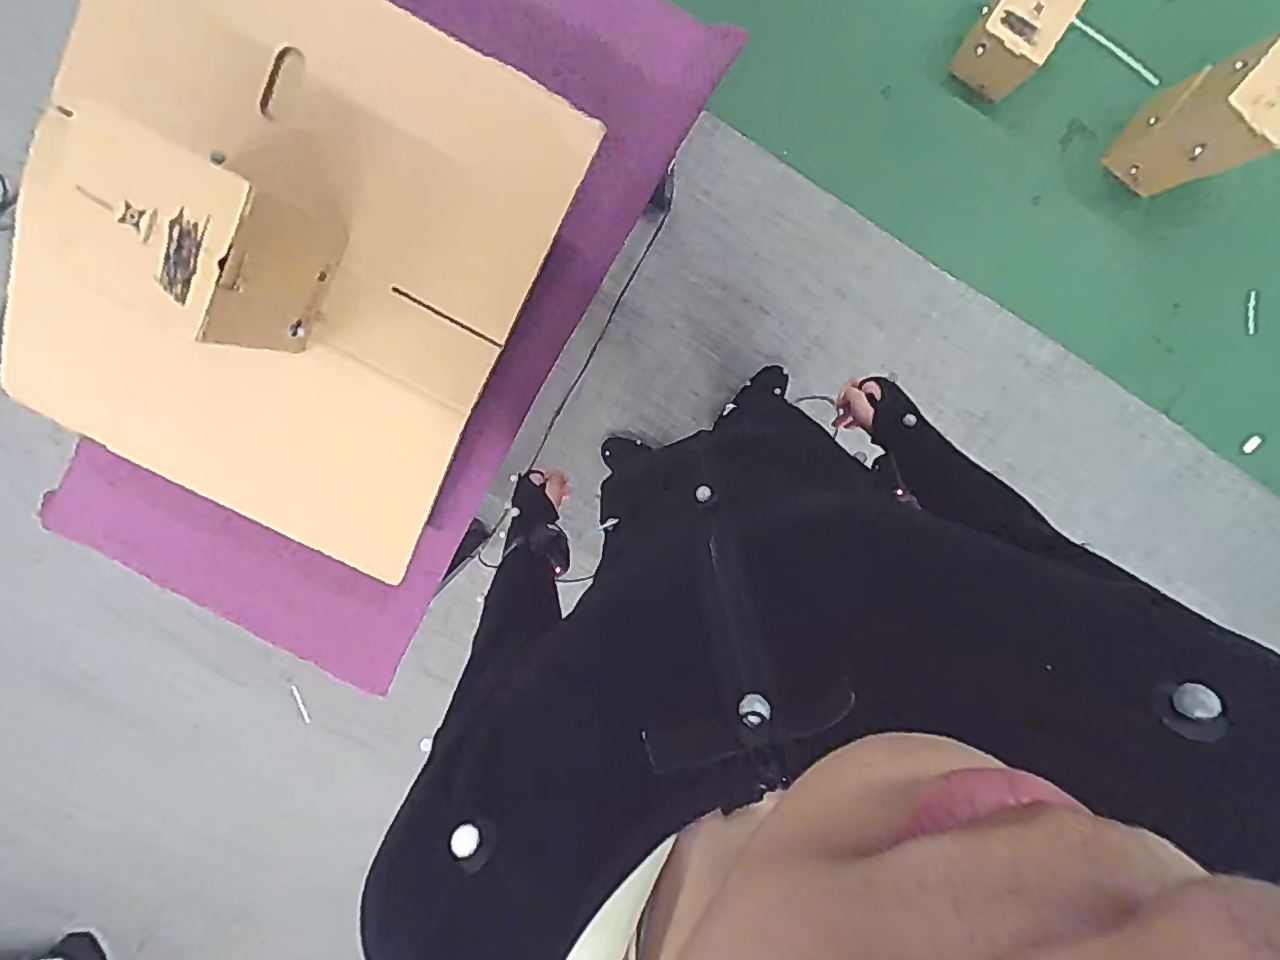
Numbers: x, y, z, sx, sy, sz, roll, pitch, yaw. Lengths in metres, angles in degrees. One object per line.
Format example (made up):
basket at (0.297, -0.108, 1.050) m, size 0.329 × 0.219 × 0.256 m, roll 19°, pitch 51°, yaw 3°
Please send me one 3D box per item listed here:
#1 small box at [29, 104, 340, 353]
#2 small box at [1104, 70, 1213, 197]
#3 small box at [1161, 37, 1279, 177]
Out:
small box at (-0.473, -0.251, 0.592) m, size 0.179 × 0.176 × 0.168 m, roll 27°, pitch 98°, yaw -3°
small box at (1.334, -0.853, 1.349) m, size 0.168 × 0.176 × 0.179 m, roll 34°, pitch 100°, yaw -5°
small box at (1.330, -0.816, 1.189) m, size 0.168 × 0.176 × 0.179 m, roll 36°, pitch 100°, yaw -5°
